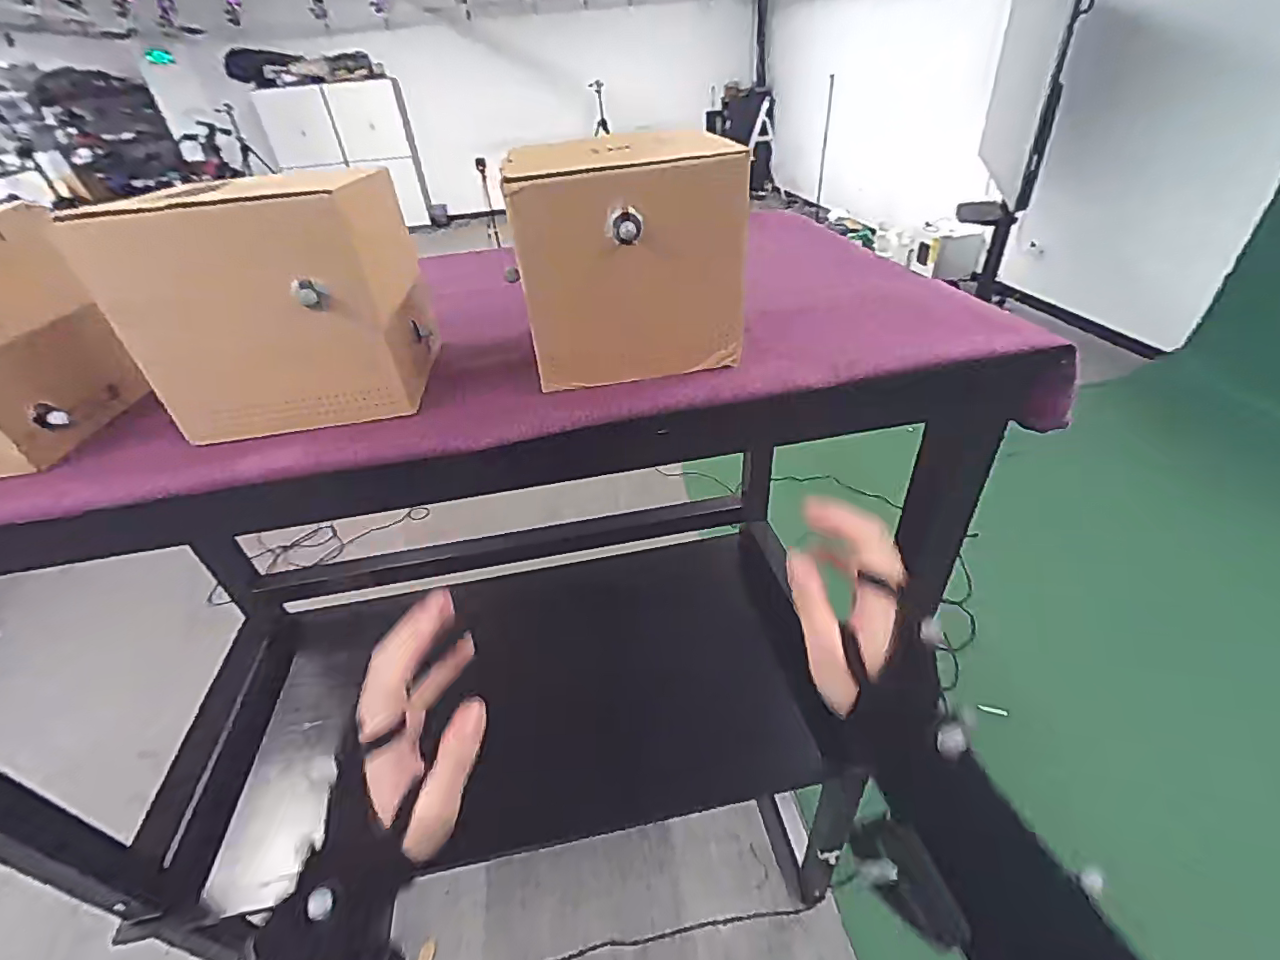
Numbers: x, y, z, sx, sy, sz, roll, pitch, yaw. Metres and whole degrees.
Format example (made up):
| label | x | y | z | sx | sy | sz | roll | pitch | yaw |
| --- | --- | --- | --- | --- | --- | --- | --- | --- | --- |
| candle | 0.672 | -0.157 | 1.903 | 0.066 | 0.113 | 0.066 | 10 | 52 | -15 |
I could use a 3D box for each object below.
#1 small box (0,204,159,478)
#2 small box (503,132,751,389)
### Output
| label | x | y | z | sx | sy | sz | roll | pitch | yaw |
| --- | --- | --- | --- | --- | --- | --- | --- | --- | --- |
| small box | -0.554 | -0.104 | 0.429 | 0.179 | 0.176 | 0.168 | -9 | 36 | -4 |
| small box | -0.010 | -0.194 | 0.479 | 0.179 | 0.176 | 0.168 | -8 | 39 | -3 |
